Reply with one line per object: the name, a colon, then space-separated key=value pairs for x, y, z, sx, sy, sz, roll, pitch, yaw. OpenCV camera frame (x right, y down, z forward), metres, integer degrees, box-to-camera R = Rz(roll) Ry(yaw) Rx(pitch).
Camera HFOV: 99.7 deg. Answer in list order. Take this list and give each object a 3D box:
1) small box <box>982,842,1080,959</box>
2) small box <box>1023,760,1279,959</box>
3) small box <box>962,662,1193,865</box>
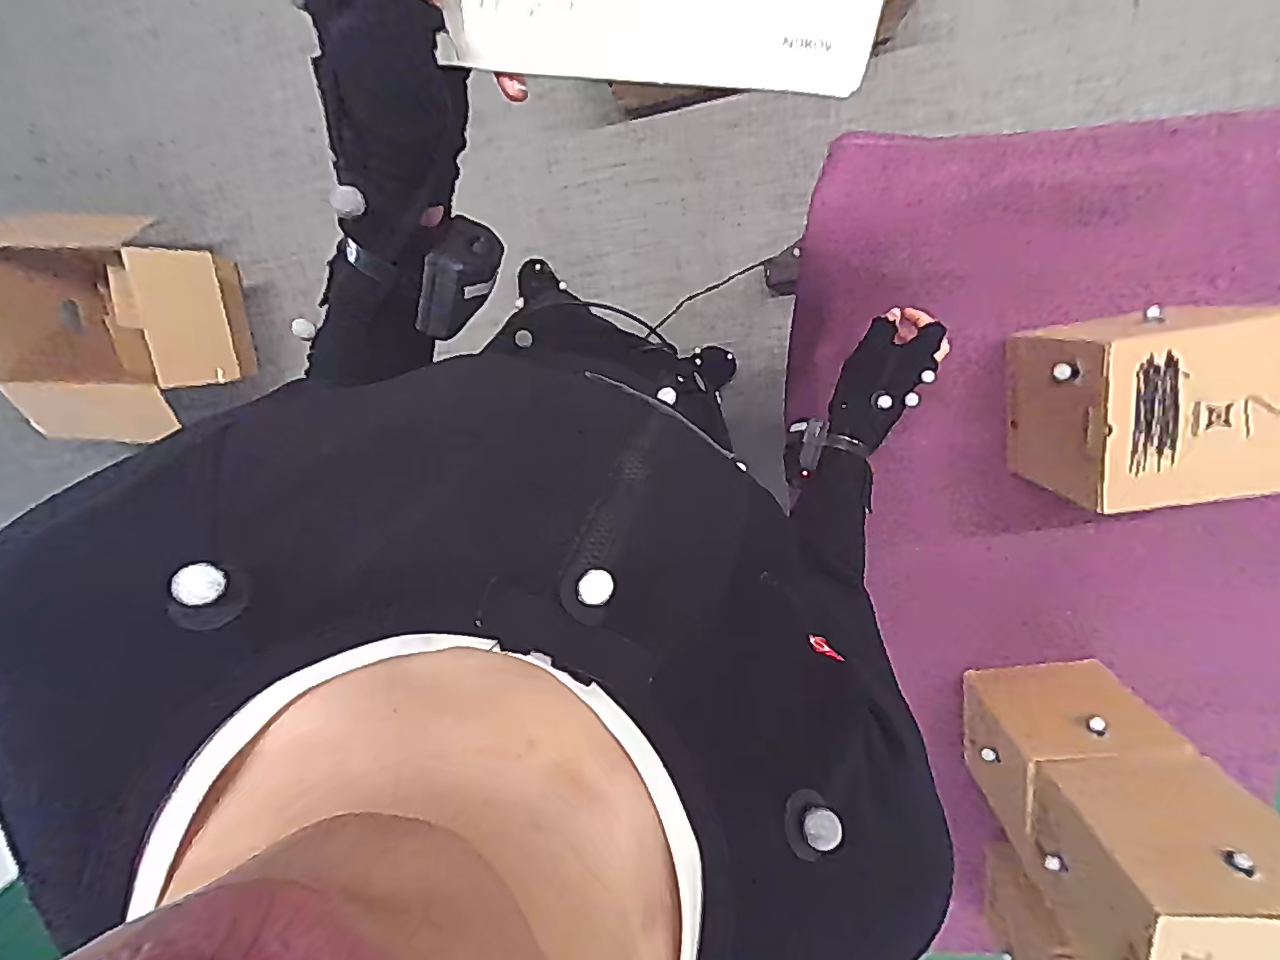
small box: x=0.627 y=0.658 z=0.783 sx=0.179 sy=0.176 sz=0.168 roll=-5 pitch=106 yaw=7
small box: x=0.534 y=0.408 z=0.545 sx=0.179 sy=0.176 sz=0.168 roll=-5 pitch=106 yaw=7
small box: x=0.543 y=0.359 z=0.702 sx=0.179 sy=0.176 sz=0.168 roll=-8 pitch=106 yaw=8
